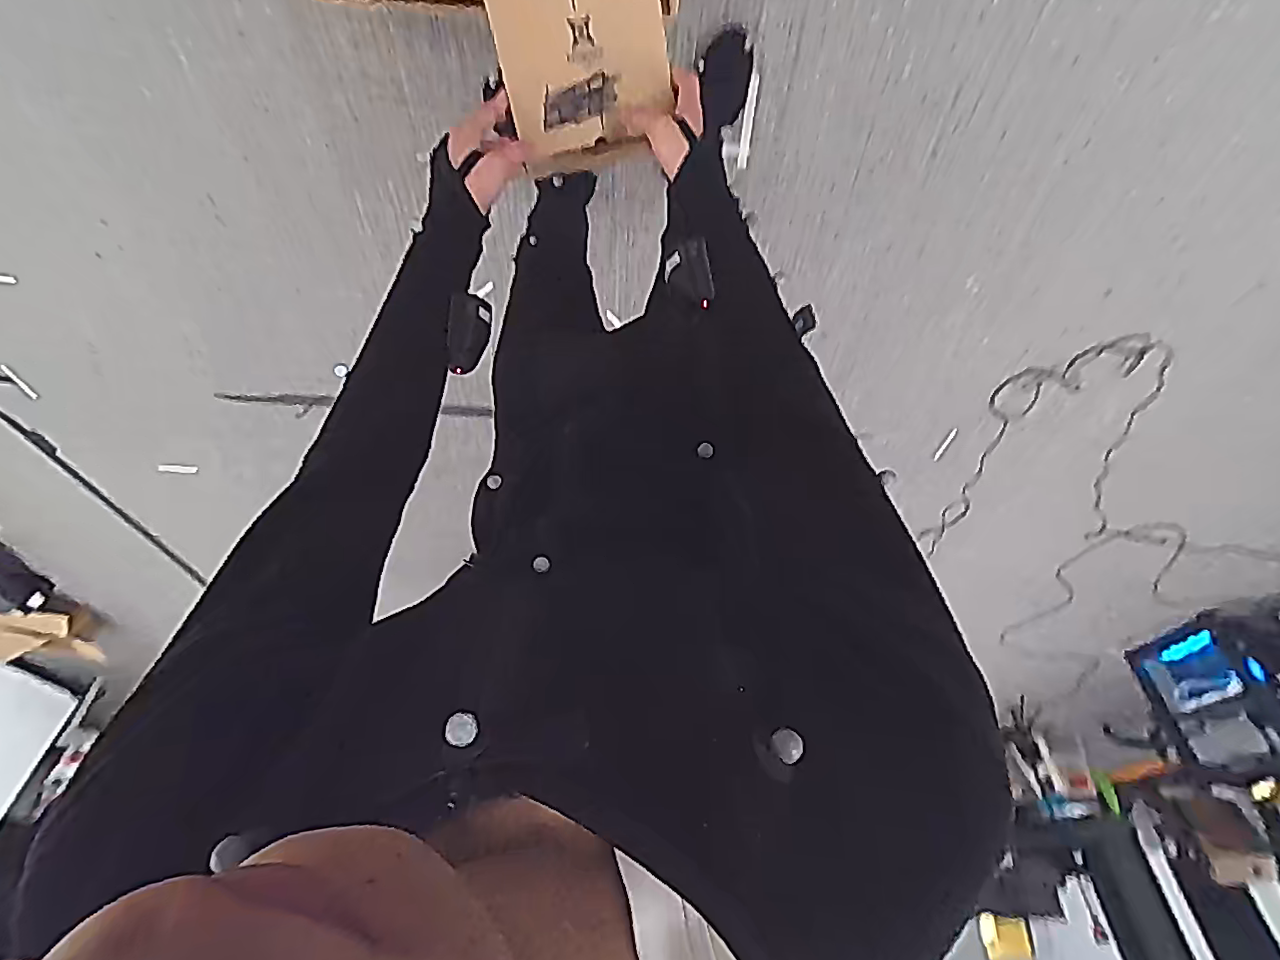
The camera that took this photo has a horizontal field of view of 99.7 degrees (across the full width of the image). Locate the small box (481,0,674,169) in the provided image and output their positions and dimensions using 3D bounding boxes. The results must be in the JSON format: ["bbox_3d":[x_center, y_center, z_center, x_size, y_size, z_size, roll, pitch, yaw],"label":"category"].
[{"bbox_3d":[-0.068,-0.454,0.588,0.168,0.176,0.179,-14,114,-2],"label":"small box"}]
